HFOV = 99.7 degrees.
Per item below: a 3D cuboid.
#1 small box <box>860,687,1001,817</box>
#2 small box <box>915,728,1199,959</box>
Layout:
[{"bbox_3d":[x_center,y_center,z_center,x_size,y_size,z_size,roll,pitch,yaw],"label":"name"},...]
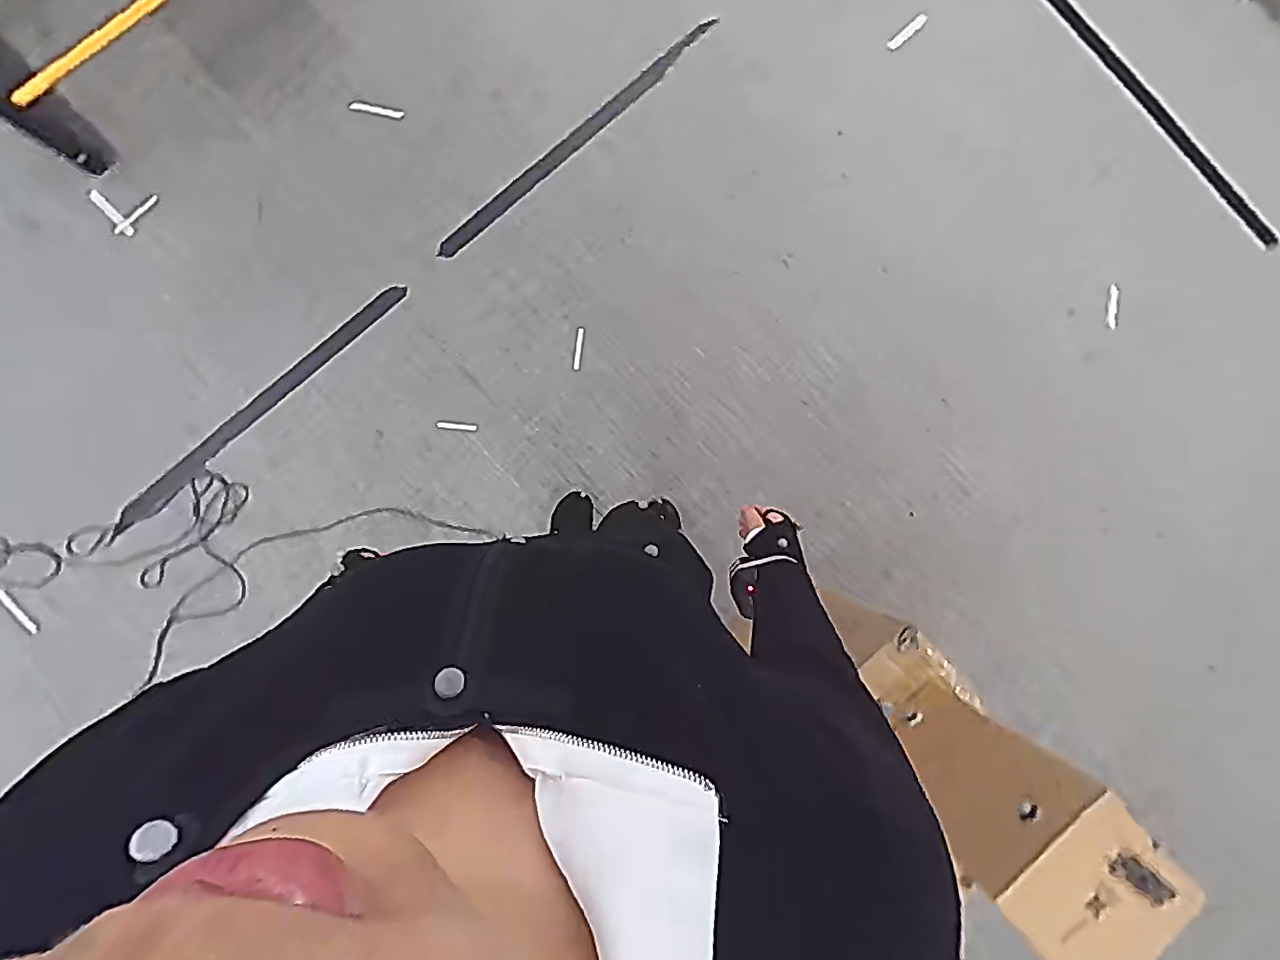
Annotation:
[{"bbox_3d":[0.478,0.450,0.819,0.168,0.176,0.179,-42,89,-4],"label":"small box"},{"bbox_3d":[0.482,0.443,0.655,0.179,0.176,0.168,-42,90,-3],"label":"small box"}]
